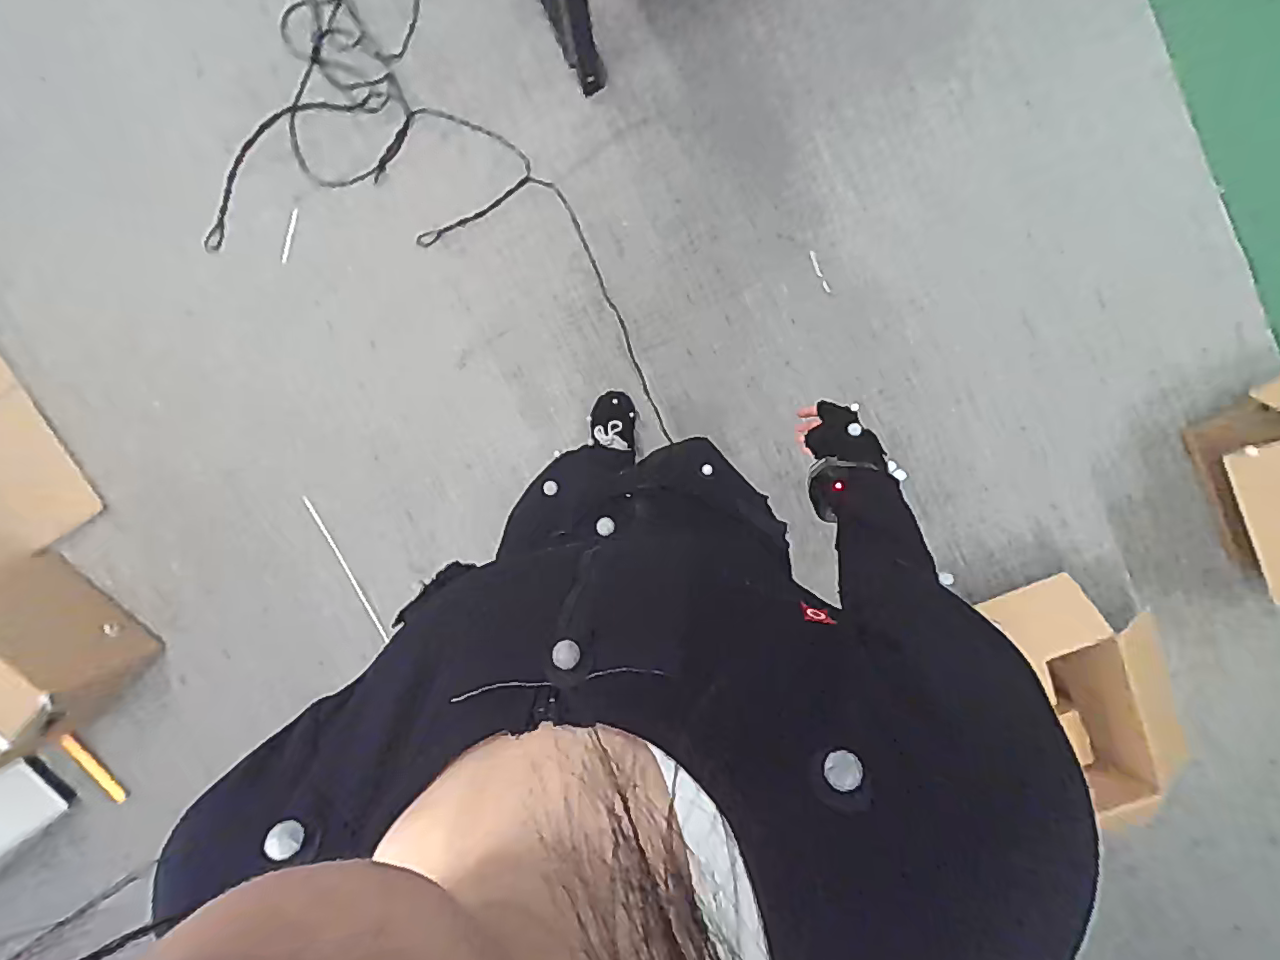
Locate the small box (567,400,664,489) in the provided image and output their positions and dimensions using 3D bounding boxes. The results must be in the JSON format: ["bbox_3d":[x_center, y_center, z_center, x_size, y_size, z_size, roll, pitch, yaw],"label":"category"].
[{"bbox_3d":[-0.069,-0.094,1.417,0.179,0.176,0.168,43,106,14],"label":"small box"}]
